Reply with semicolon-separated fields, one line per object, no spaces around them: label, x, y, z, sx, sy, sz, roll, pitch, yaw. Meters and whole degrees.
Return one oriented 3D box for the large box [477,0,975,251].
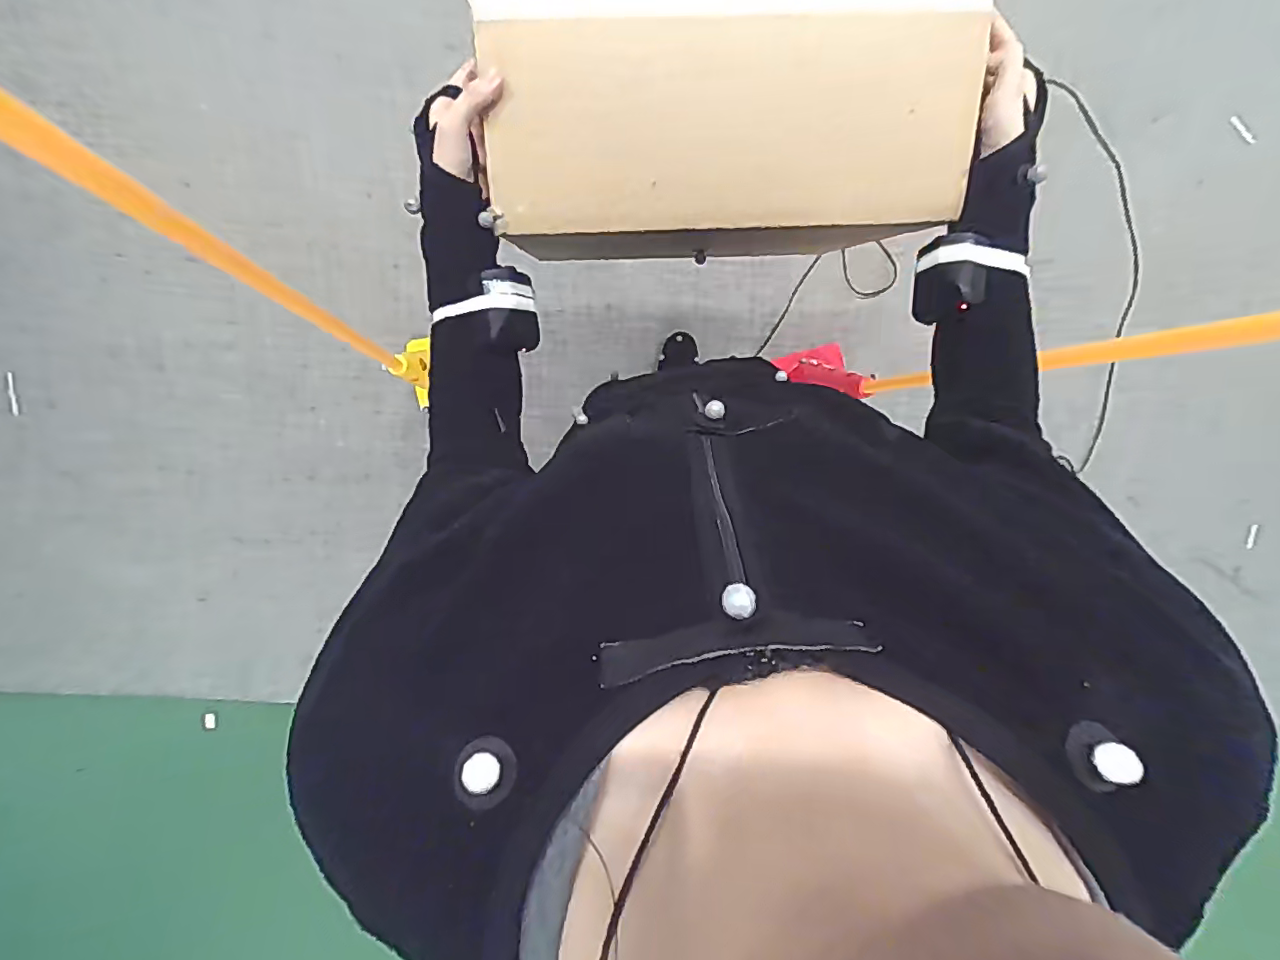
large box;0.067;-0.423;0.567;0.408;0.320;0.320;-3;108;-2
